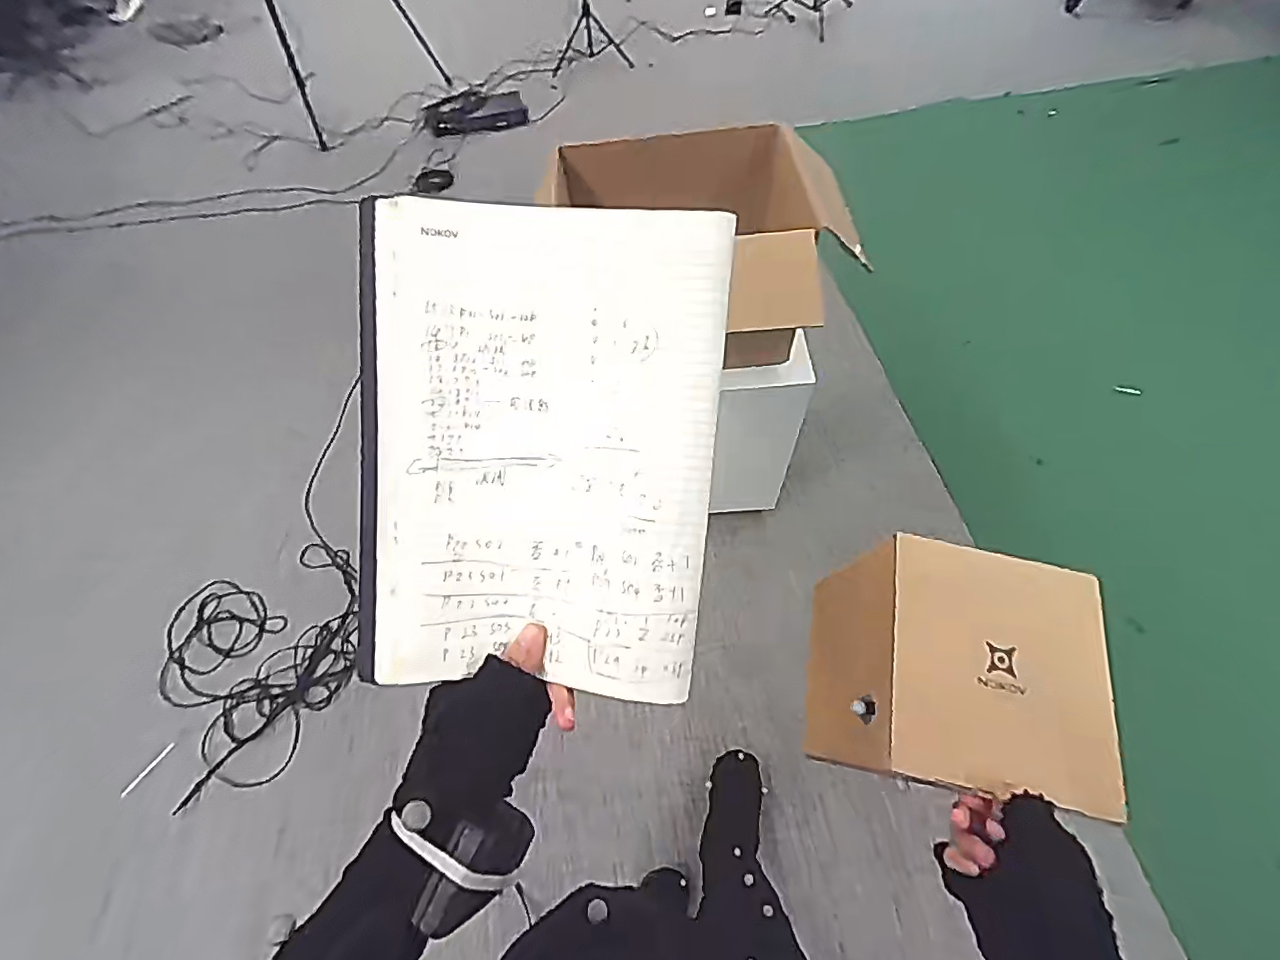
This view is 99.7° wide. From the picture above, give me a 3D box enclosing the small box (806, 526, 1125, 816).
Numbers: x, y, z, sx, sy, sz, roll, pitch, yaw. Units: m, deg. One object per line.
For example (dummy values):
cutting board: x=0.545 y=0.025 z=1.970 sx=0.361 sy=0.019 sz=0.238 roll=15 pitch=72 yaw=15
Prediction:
small box: x=0.257 y=0.162 z=0.471 sx=0.168 sy=0.176 sz=0.179 roll=13 pitch=66 yaw=0
